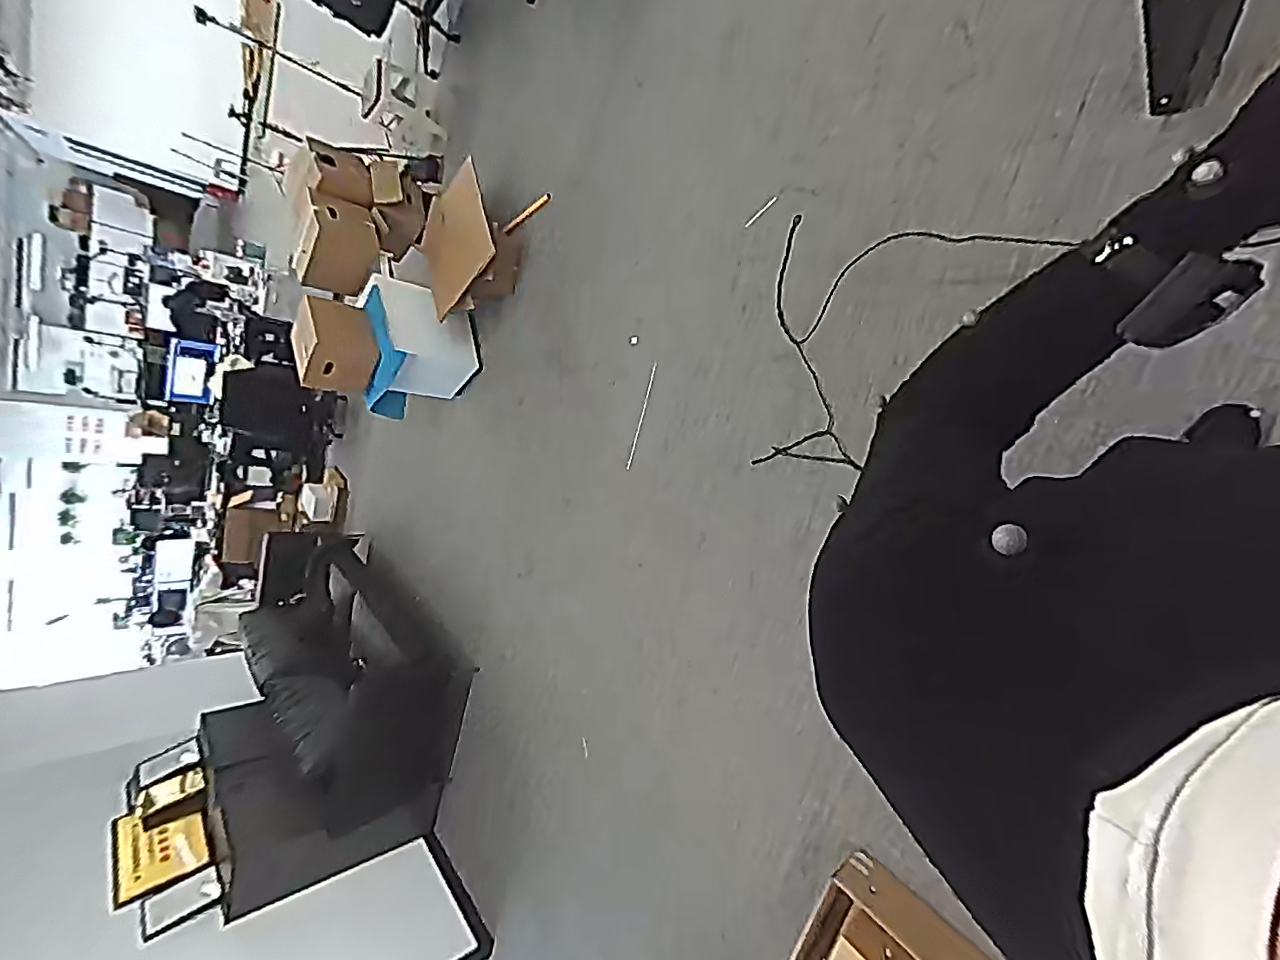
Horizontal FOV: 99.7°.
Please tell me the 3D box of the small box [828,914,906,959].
[{"bbox_3d":[0.608,1.345,1.467,0.168,0.176,0.179,28,106,41],"label":"small box"}]
